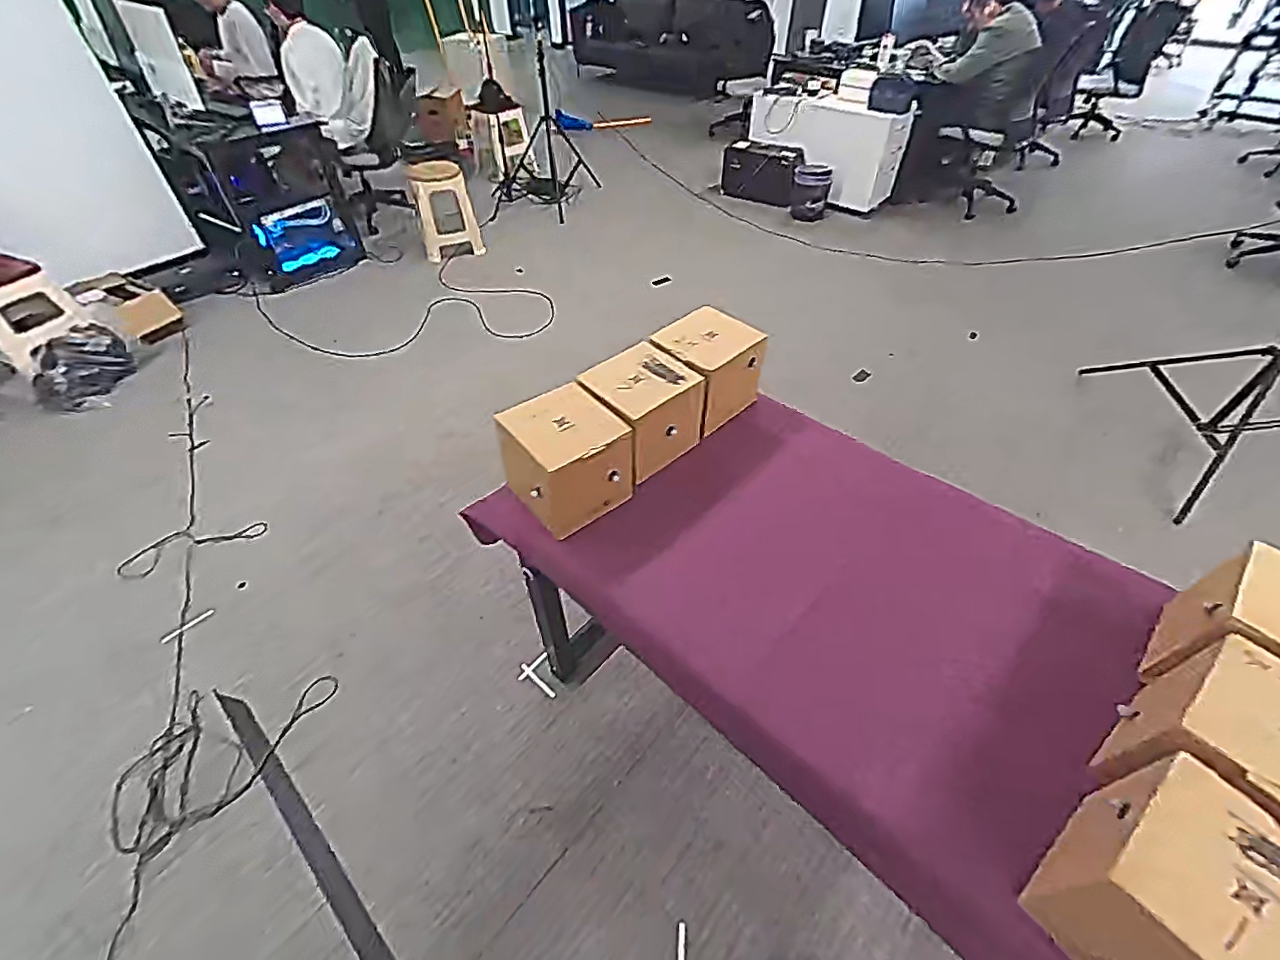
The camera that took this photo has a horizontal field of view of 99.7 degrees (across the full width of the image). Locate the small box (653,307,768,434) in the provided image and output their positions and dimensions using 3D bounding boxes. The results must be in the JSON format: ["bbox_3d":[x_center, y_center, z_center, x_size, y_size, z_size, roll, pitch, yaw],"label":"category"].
[{"bbox_3d":[0.138,-0.230,1.135,0.179,0.176,0.168,-35,56,-28],"label":"small box"}]

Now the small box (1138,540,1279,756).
[{"bbox_3d":[0.818,0.220,0.713,0.179,0.176,0.168,-35,56,-29],"label":"small box"}]

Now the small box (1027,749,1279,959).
[{"bbox_3d":[0.532,0.412,0.532,0.179,0.176,0.168,-28,51,-24],"label":"small box"}]
